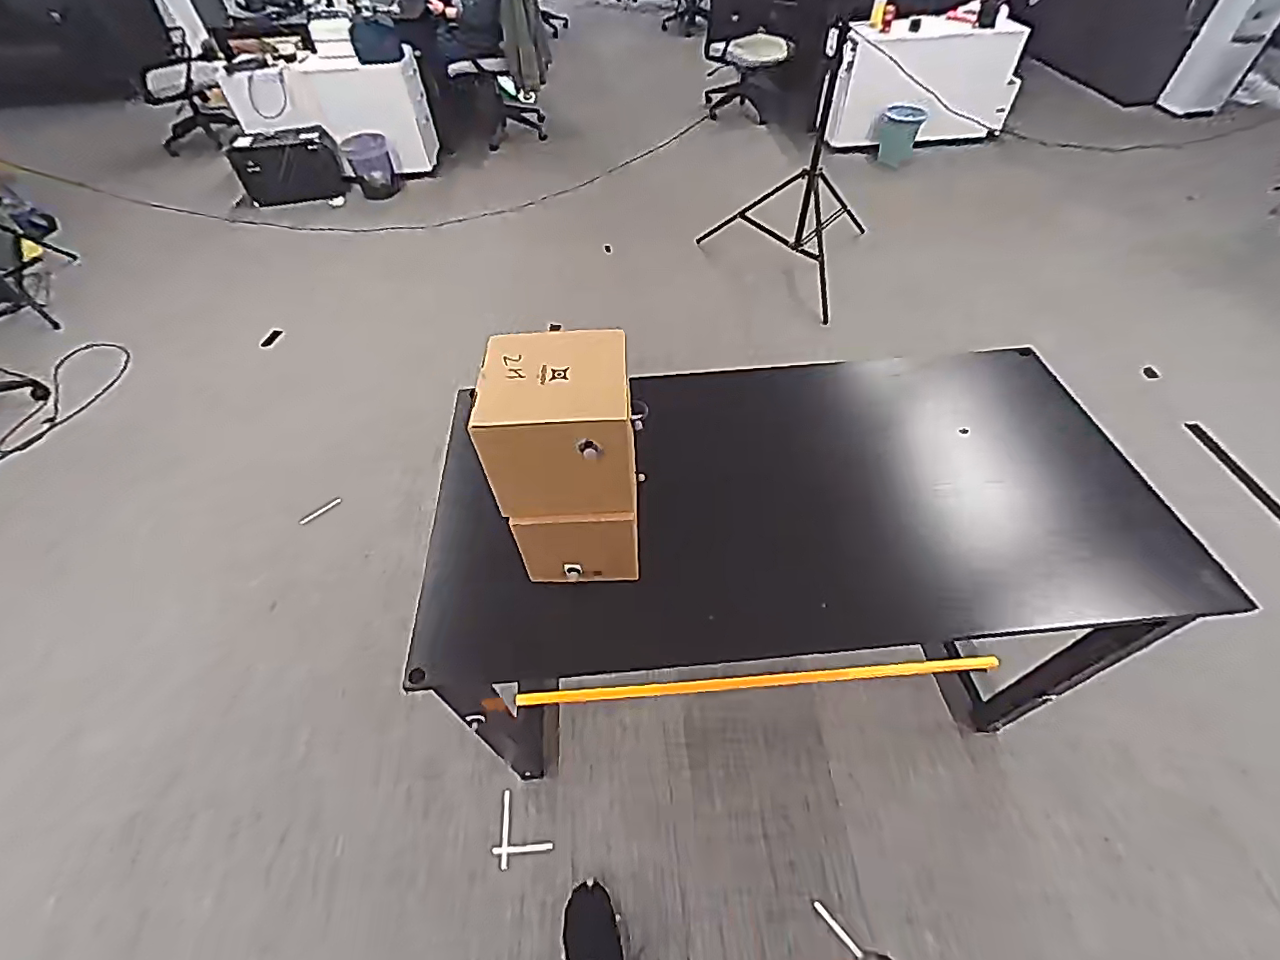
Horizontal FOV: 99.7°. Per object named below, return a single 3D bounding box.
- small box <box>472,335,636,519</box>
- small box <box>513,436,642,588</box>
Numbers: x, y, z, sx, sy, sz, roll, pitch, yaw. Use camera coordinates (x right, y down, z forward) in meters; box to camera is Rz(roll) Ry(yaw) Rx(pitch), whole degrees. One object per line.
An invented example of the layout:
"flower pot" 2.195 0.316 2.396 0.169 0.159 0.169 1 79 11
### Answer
"small box" -0.095 -0.064 0.694 0.179 0.176 0.168 -3 50 1
"small box" -0.084 0.045 0.817 0.168 0.176 0.179 -3 52 1
